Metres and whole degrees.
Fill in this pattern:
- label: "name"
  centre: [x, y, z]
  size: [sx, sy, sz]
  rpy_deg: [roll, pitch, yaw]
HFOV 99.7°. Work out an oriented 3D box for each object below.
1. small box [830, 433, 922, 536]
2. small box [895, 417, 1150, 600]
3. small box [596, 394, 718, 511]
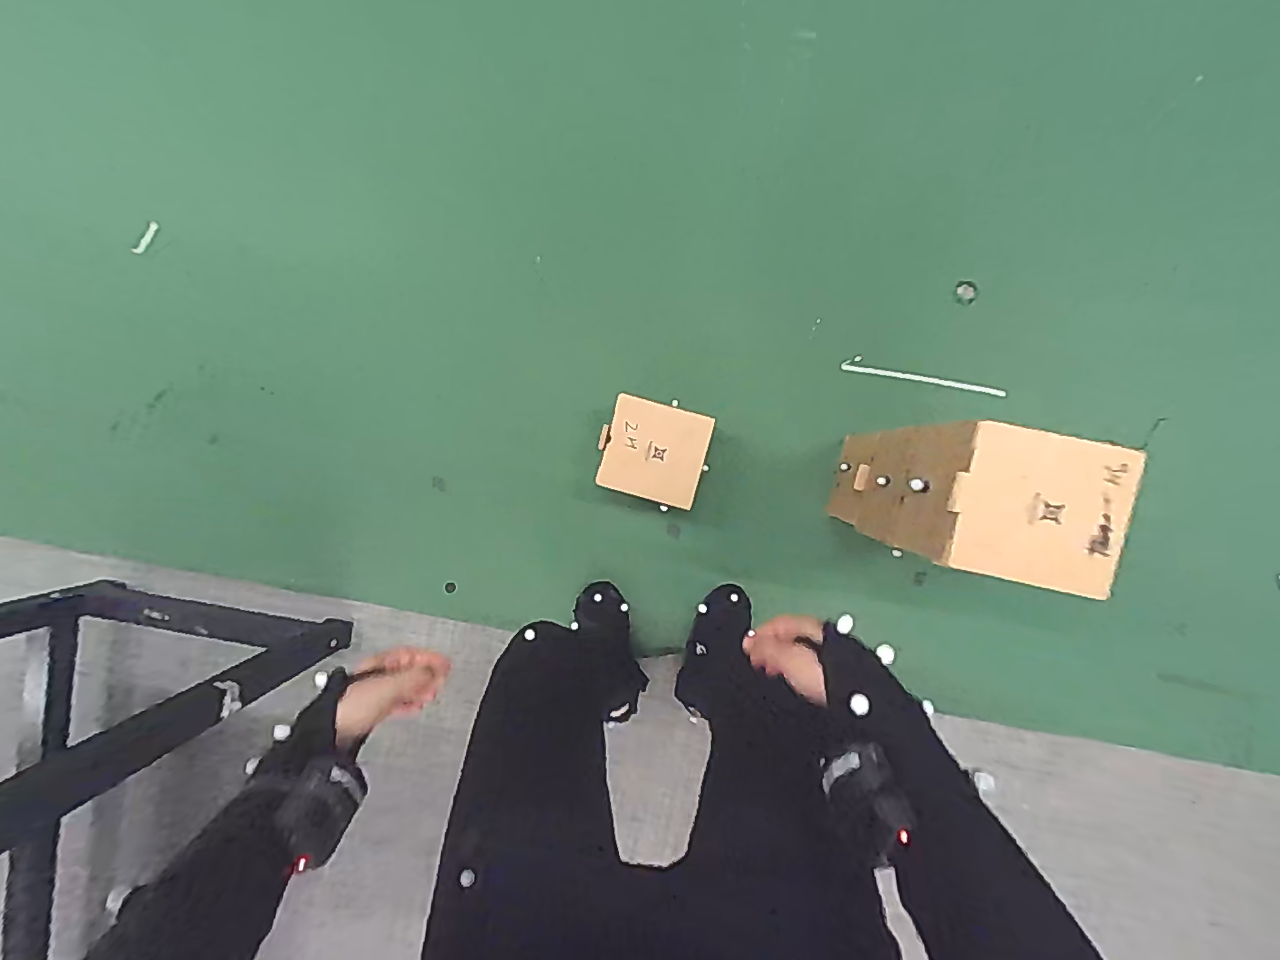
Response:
- label: "small box"
  centre: [0.470, 0.012, 0.980]
  size: [0.179, 0.176, 0.168]
  rpy_deg: [14, 95, 3]
- label: "small box"
  centre: [0.437, 0.028, 0.653]
  size: [0.179, 0.176, 0.168]
  rpy_deg: [13, 94, 4]
- label: "small box"
  centre: [0.033, -0.053, 1.002]
  size: [0.179, 0.176, 0.168]
  rpy_deg: [16, 94, 3]
